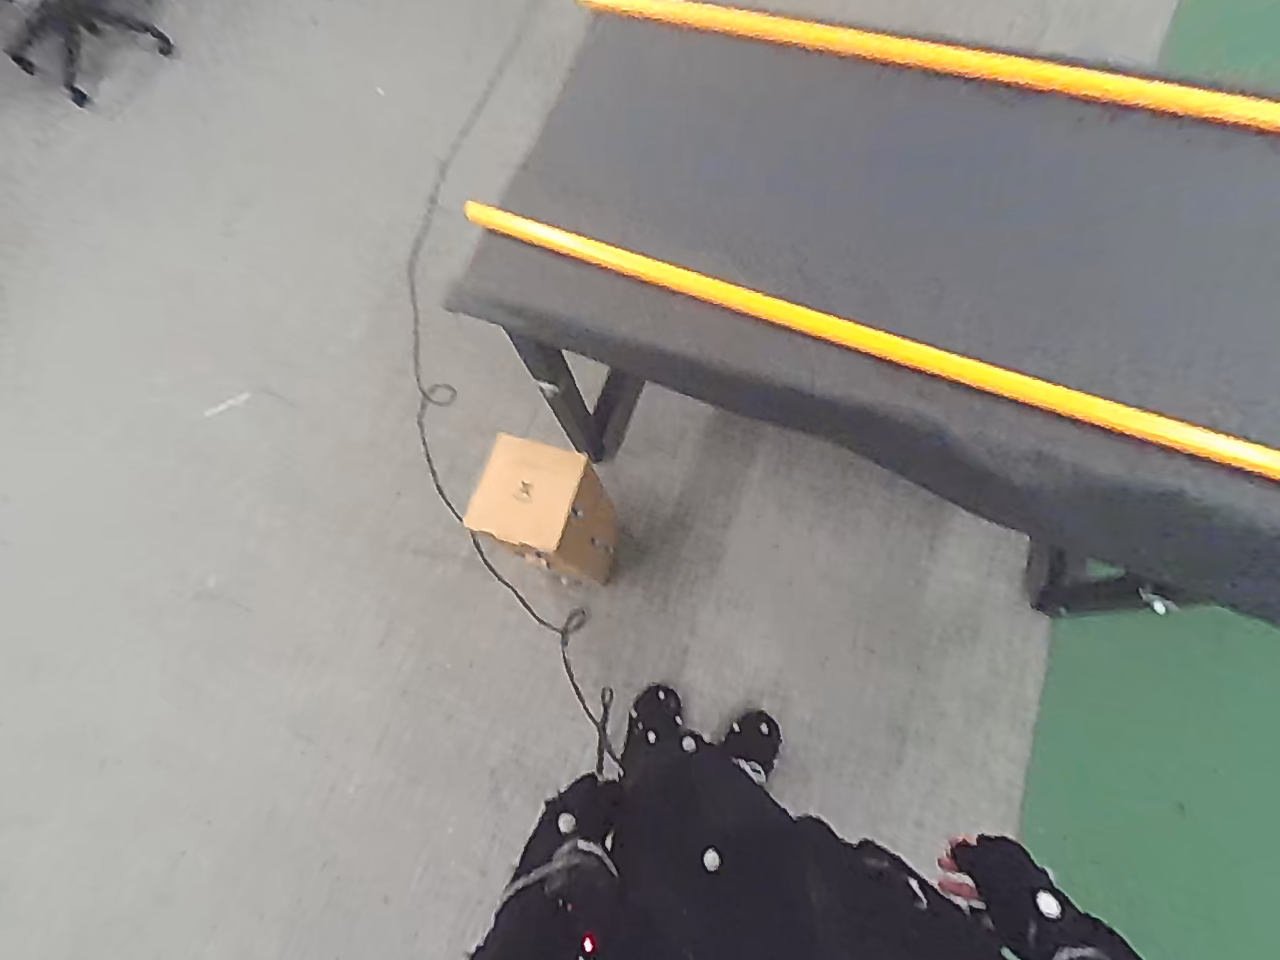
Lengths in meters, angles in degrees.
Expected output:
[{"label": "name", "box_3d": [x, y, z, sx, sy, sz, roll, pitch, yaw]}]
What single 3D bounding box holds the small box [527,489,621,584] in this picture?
[{"label": "small box", "box_3d": [-0.148, 0.139, 1.288, 0.168, 0.176, 0.179, 12, 75, 9]}]
